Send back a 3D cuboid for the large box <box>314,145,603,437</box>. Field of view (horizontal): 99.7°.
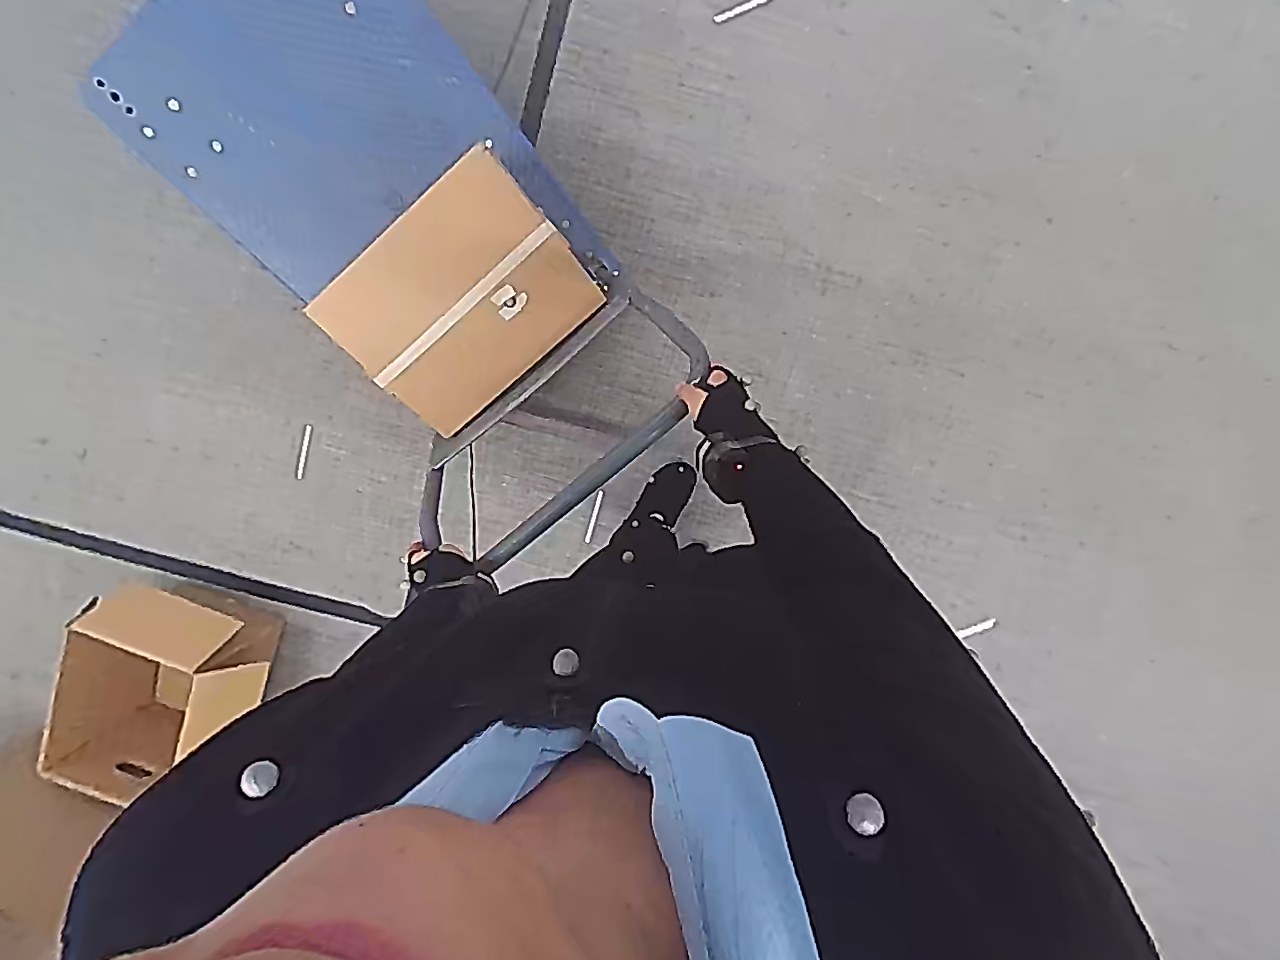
[{"bbox_3d":[-0.338,-0.364,1.073,0.408,0.320,0.320,-40,118,6],"label":"large box"}]
